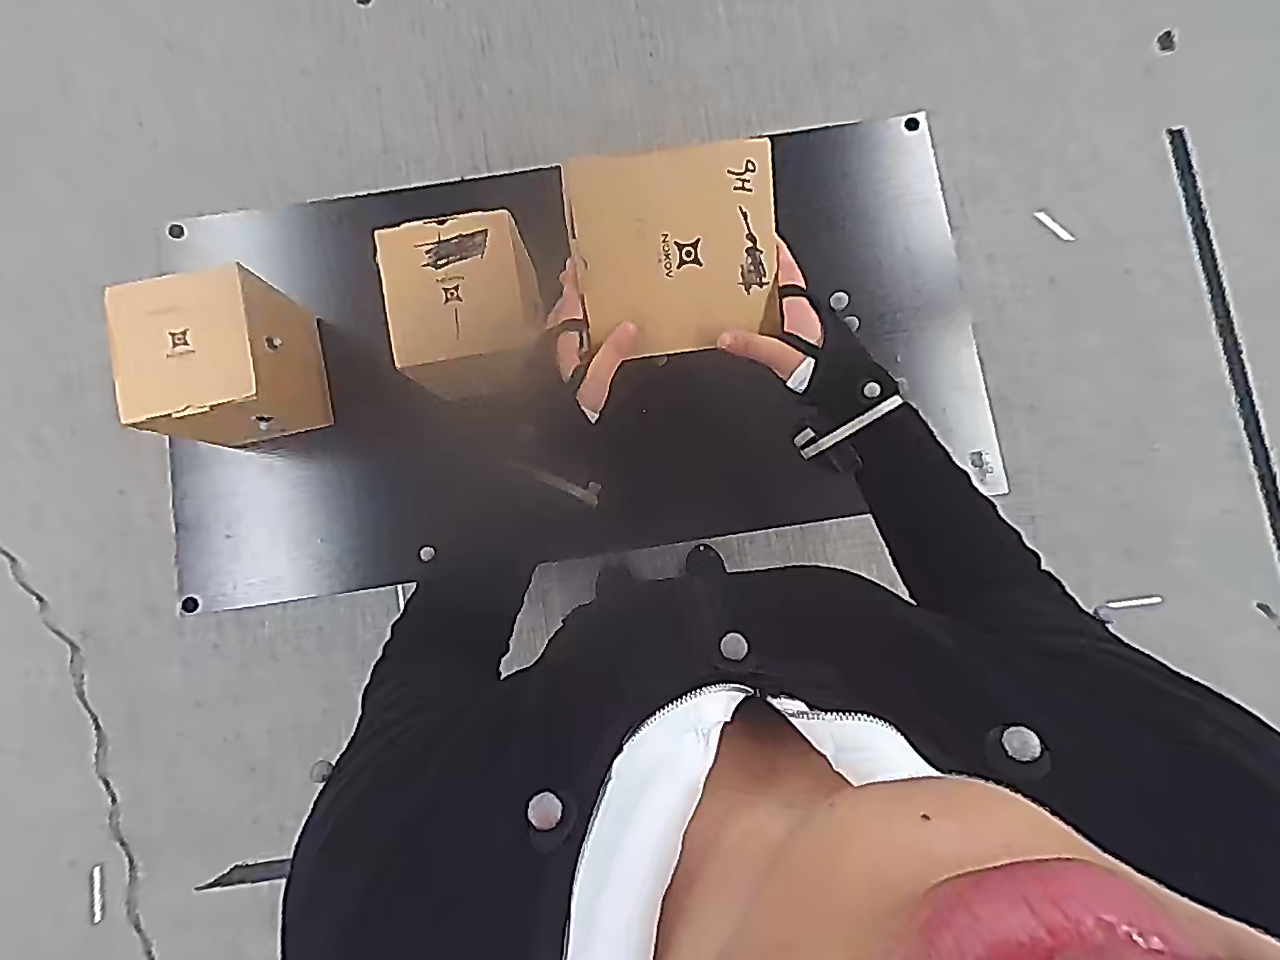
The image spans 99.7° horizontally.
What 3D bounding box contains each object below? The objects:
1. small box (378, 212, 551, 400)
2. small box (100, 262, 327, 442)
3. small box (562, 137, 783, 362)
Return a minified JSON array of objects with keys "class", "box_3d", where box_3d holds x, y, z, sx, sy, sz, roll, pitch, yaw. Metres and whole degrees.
[{"class":"small box","box_3d":[-0.223,-0.221,0.724,0.168,0.176,0.179,-10,85,-1]},{"class":"small box","box_3d":[-0.548,-0.155,0.719,0.168,0.176,0.179,-13,84,-2]},{"class":"small box","box_3d":[0.024,-0.207,0.526,0.179,0.176,0.168,-8,106,-5]}]
